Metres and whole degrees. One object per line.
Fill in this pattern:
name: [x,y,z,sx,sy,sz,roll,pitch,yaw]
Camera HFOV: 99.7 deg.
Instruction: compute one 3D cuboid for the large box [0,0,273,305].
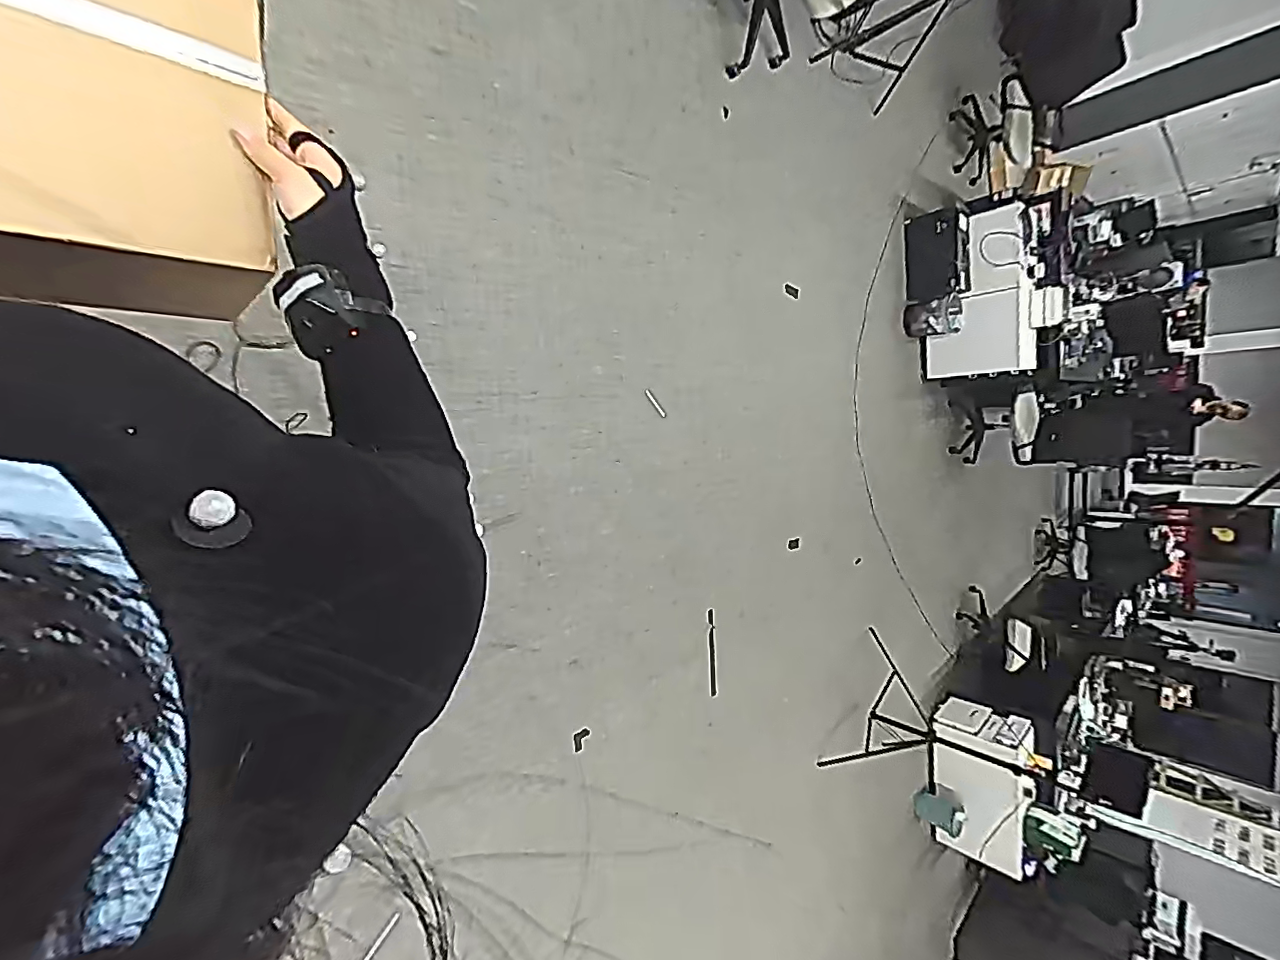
large box: [-0.579,-0.341,0.446,0.408,0.320,0.320,-7,98,-42]
